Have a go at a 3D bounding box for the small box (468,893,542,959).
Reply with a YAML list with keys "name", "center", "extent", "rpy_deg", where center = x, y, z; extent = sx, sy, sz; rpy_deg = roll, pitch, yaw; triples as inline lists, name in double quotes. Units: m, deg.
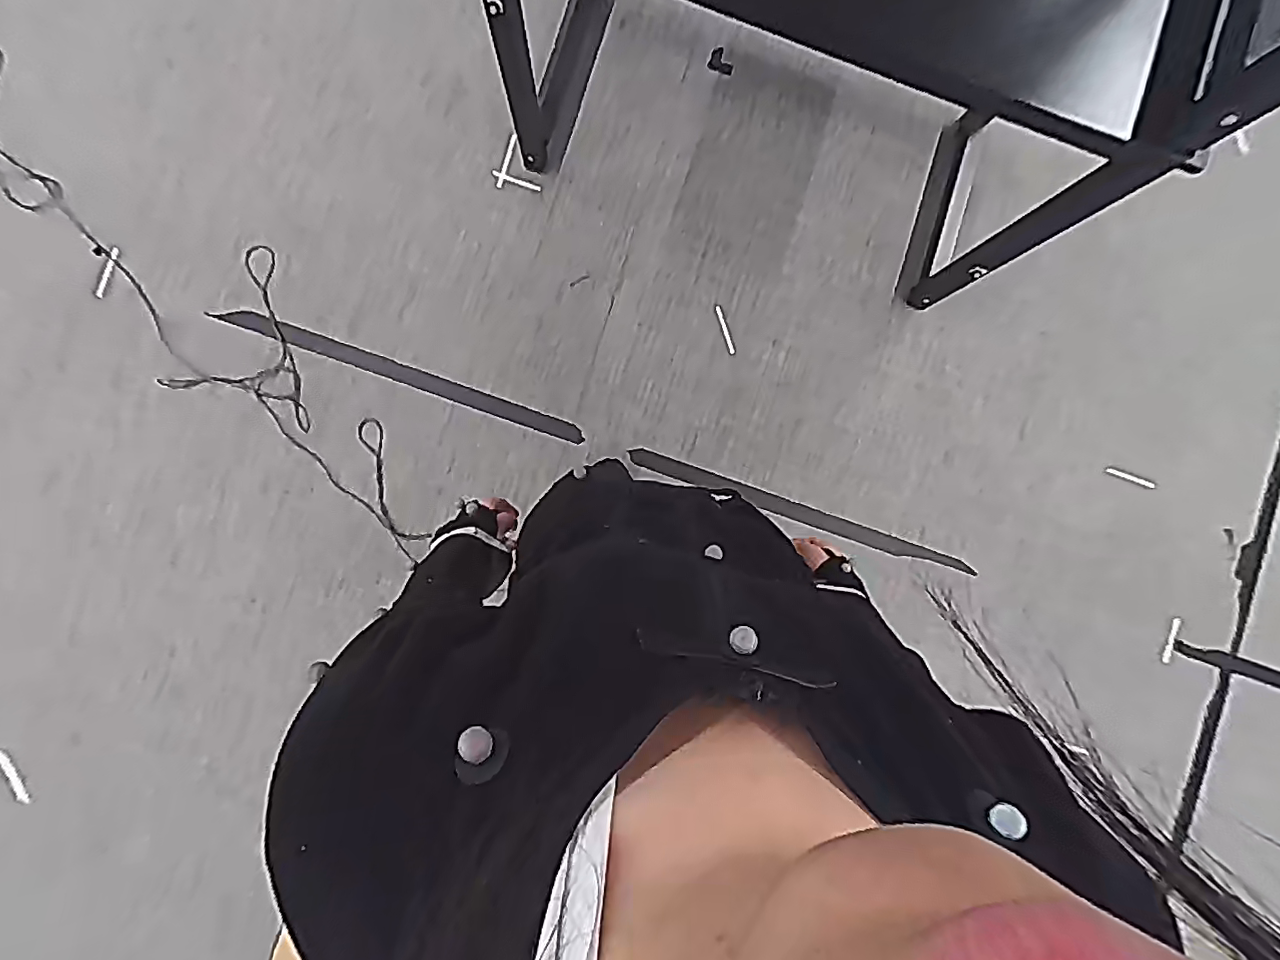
- name: "small box"
  center: [-0.344, 1.191, 1.363]
  extent: [0.168, 0.176, 0.179]
  rpy_deg: [9, 89, -4]
